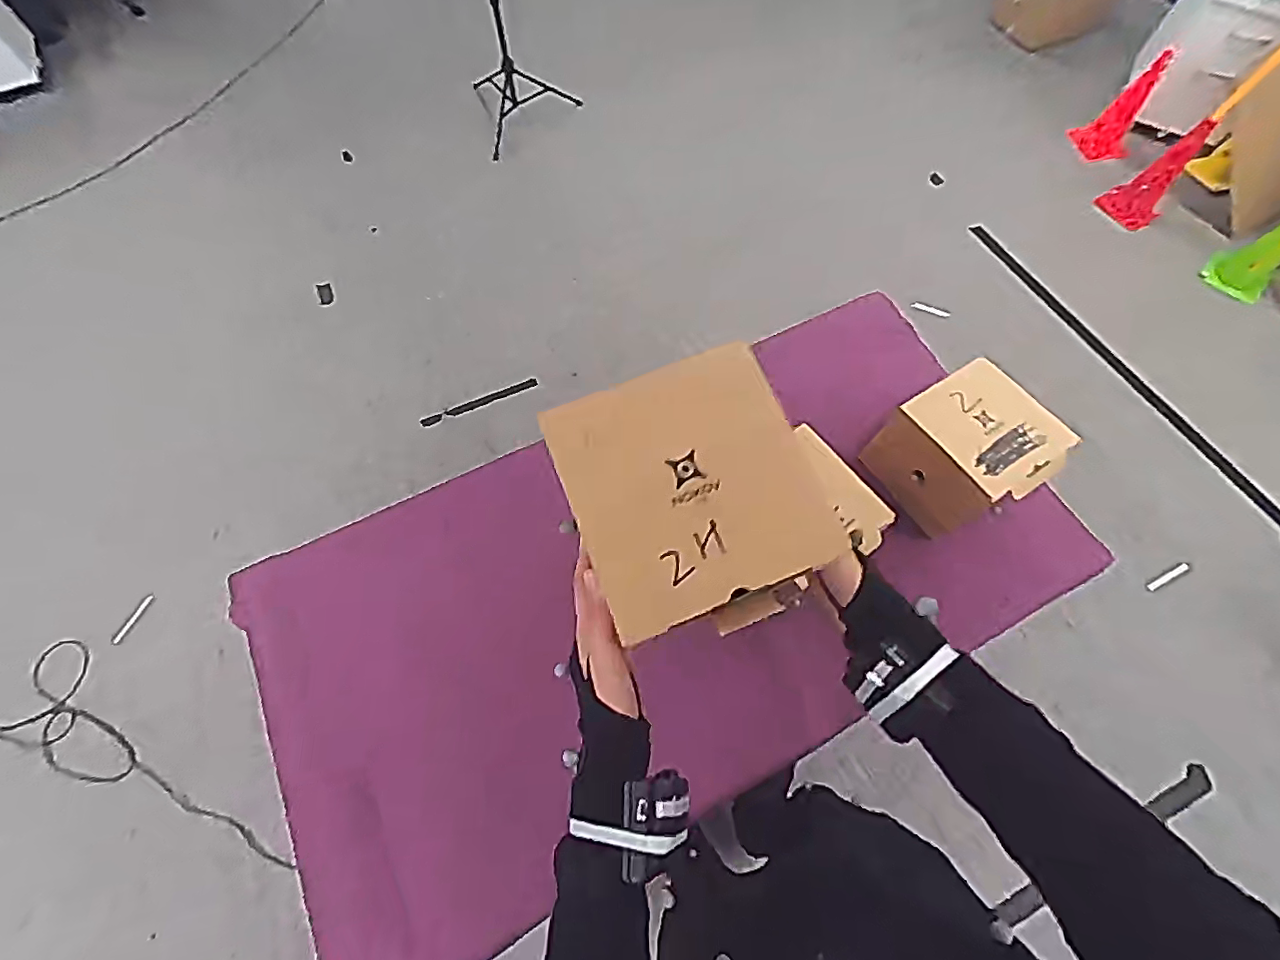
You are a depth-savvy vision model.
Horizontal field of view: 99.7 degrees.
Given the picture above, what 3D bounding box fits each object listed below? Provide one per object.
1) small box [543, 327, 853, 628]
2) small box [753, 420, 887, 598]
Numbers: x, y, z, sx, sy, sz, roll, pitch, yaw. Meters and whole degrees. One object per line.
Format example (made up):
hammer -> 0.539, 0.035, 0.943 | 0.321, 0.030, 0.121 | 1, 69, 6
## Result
small box -> 0.035, 0.012, 0.445 | 0.168, 0.176, 0.179 | -21, 76, -4
small box -> 0.208, 0.053, 0.780 | 0.168, 0.176, 0.179 | -33, 69, -13
